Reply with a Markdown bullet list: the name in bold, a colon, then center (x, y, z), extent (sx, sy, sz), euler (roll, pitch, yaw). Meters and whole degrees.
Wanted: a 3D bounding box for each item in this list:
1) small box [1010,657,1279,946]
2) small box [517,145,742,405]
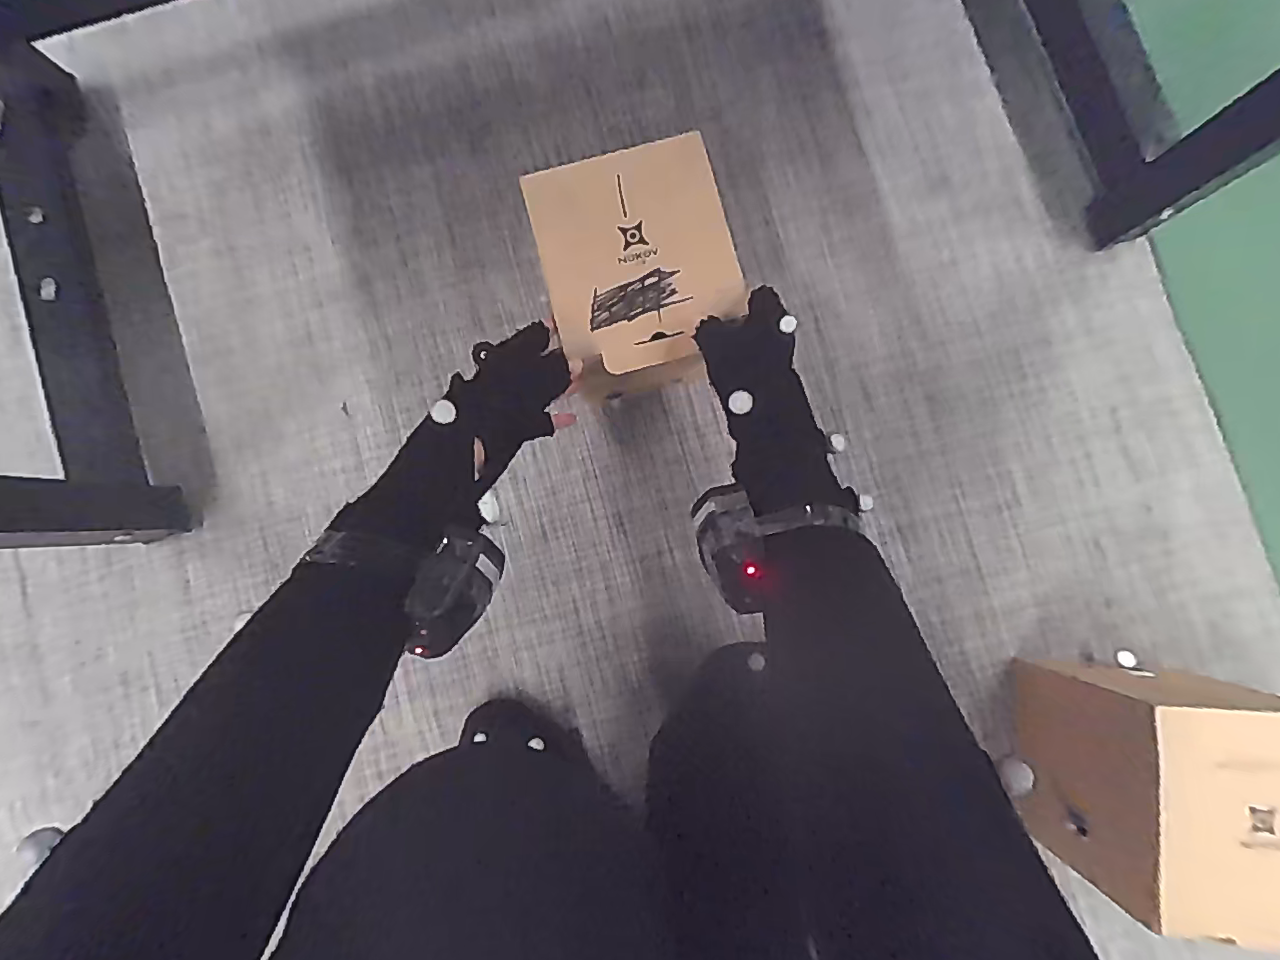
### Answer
- **small box**: center (0.476, 0.276, 0.499), extent (0.168, 0.176, 0.179), euler (2, 84, 0)
- **small box**: center (-0.007, -0.185, 0.548), extent (0.168, 0.176, 0.179), euler (-15, 84, 0)
